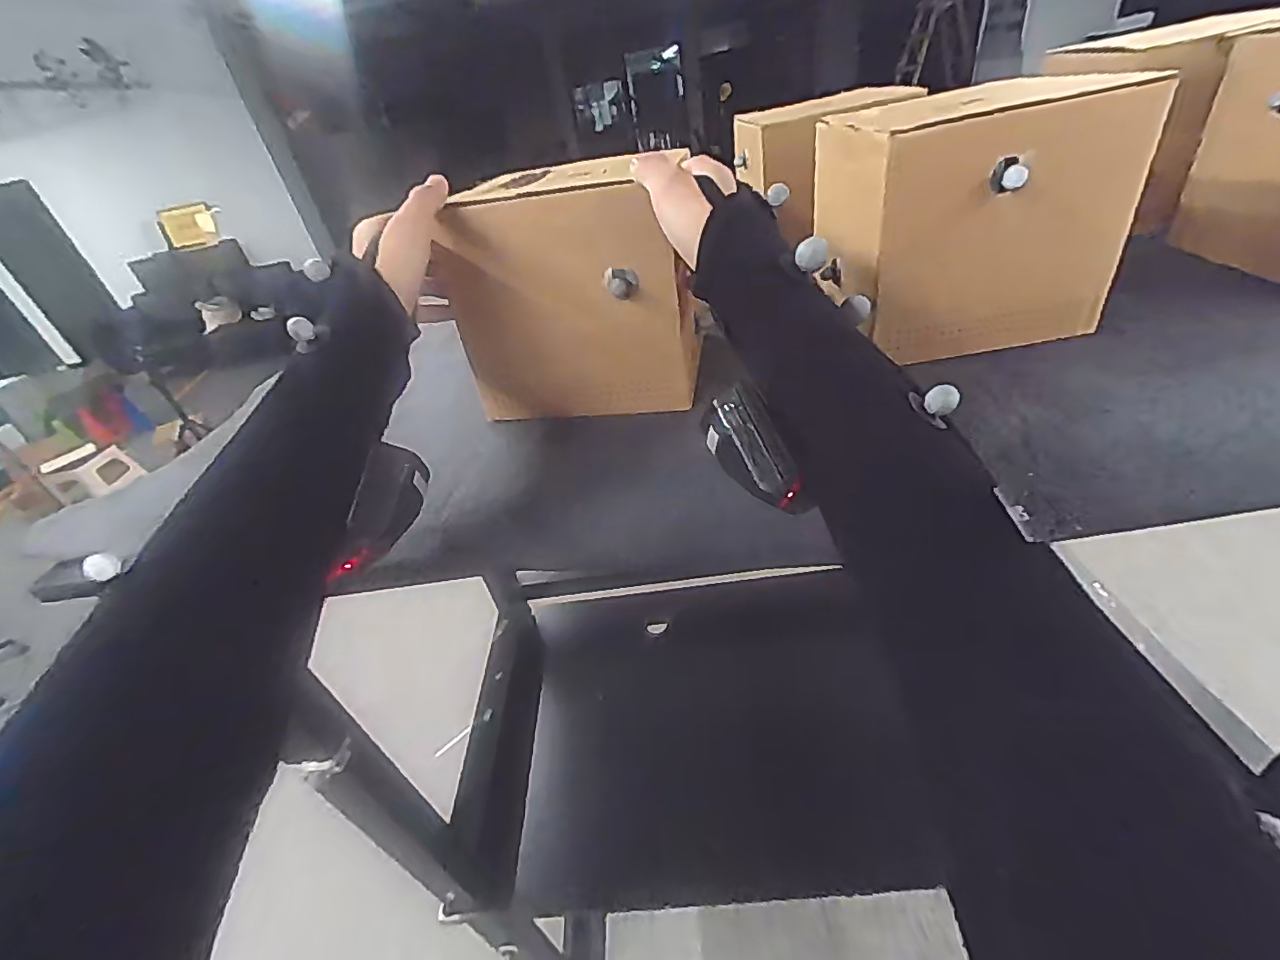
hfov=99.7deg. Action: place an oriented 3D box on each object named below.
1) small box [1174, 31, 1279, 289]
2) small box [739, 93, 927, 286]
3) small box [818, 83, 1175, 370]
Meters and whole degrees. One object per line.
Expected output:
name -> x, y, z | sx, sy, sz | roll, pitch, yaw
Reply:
small box -> 0.576, -0.252, 0.409 | 0.168, 0.176, 0.179 | -5, 36, 11
small box -> 0.216, -0.350, 0.654 | 0.168, 0.176, 0.179 | -9, 36, 6
small box -> 0.256, -0.209, 0.448 | 0.179, 0.176, 0.168 | -9, 35, 5
